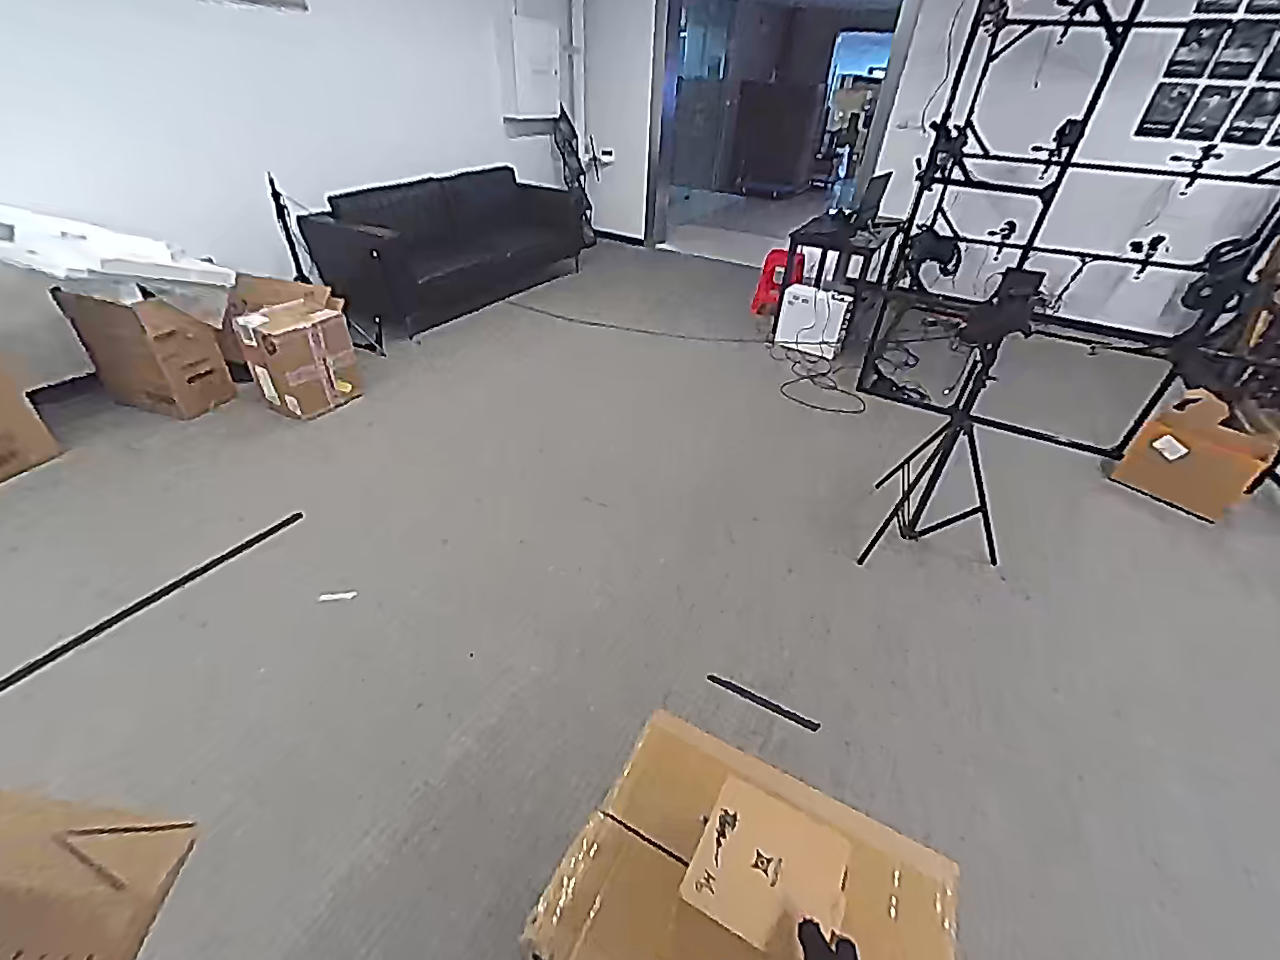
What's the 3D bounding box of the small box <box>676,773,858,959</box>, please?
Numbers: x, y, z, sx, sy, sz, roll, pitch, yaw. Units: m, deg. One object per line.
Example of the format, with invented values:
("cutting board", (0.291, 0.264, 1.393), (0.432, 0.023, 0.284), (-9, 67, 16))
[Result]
("small box", (0.162, 0.540, 0.716), (0.179, 0.176, 0.168), (20, 41, 22))
